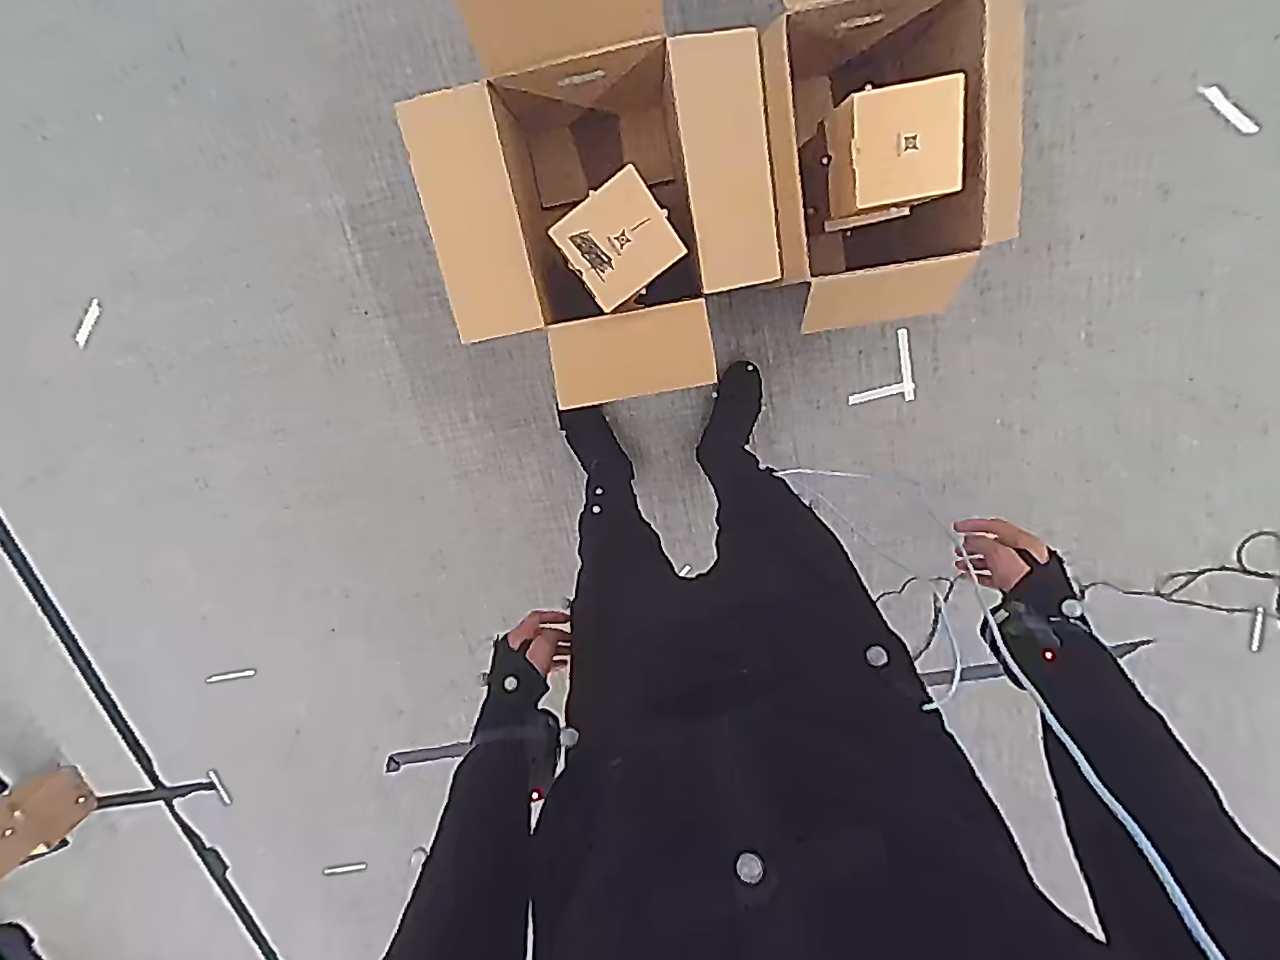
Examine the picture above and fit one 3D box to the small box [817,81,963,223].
[{"bbox_3d":[0.423,-0.553,0.935,0.179,0.176,0.168,-9,109,4],"label":"small box"}]
